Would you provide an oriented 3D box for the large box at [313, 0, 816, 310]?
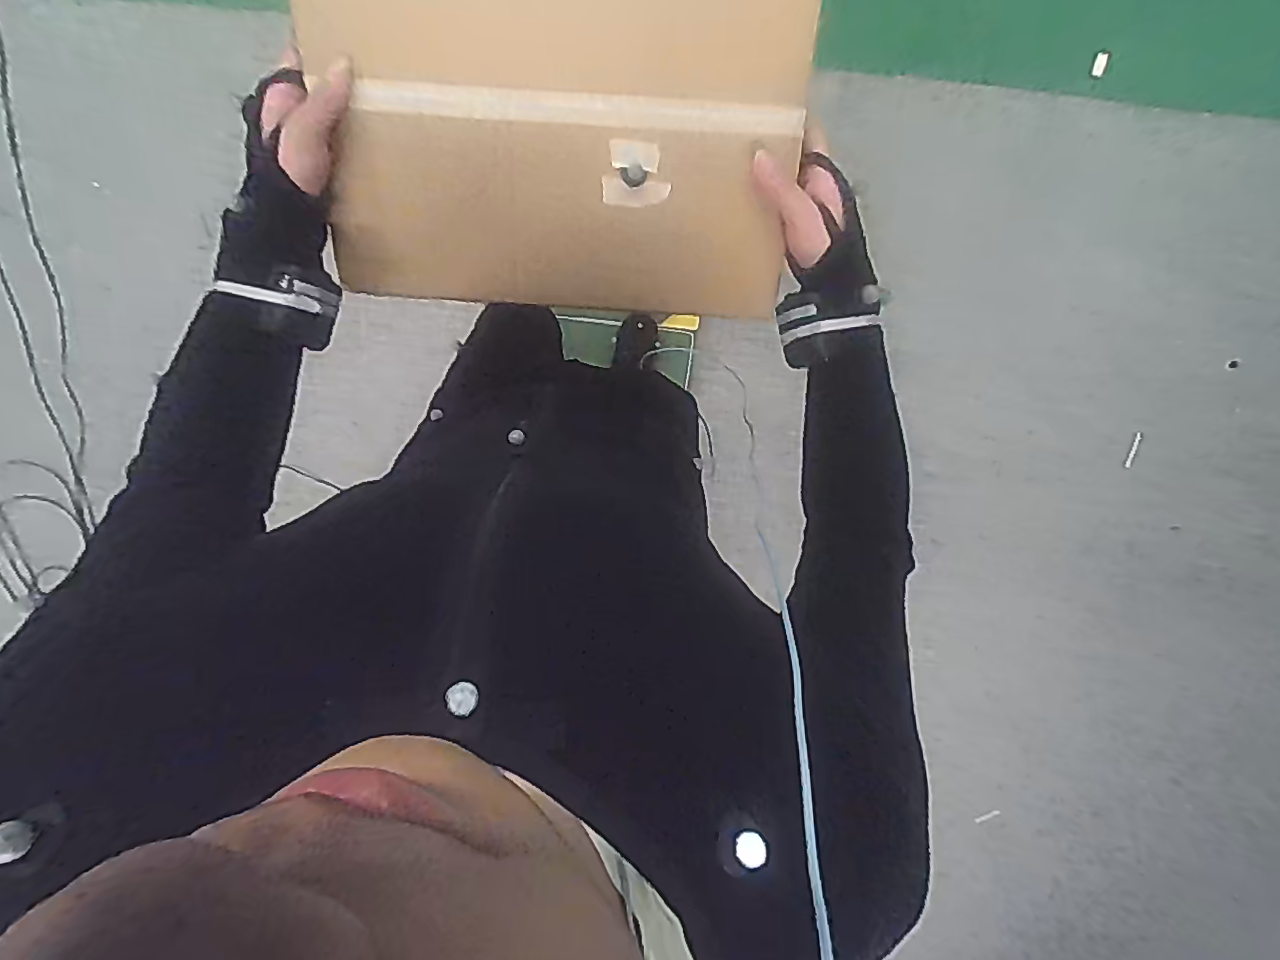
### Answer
[{"bbox_3d":[-0.065,-0.371,0.591,0.408,0.320,0.320,3,115,-1],"label":"large box"}]
